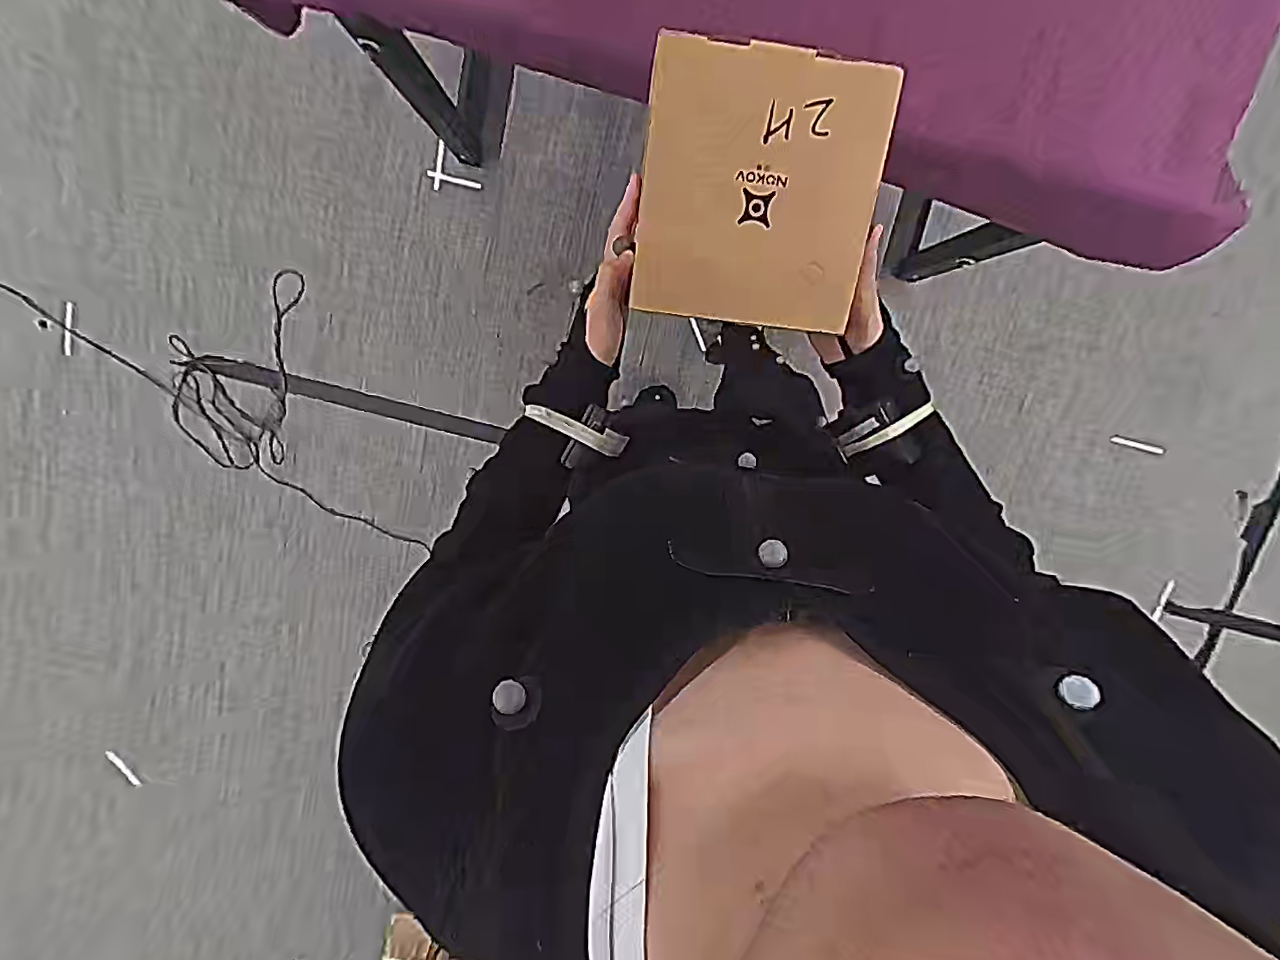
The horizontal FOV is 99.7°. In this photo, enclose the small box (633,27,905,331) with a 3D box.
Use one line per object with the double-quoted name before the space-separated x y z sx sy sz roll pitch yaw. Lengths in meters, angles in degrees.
"small box" 0.085 -0.230 0.459 0.168 0.176 0.179 6 108 -5
